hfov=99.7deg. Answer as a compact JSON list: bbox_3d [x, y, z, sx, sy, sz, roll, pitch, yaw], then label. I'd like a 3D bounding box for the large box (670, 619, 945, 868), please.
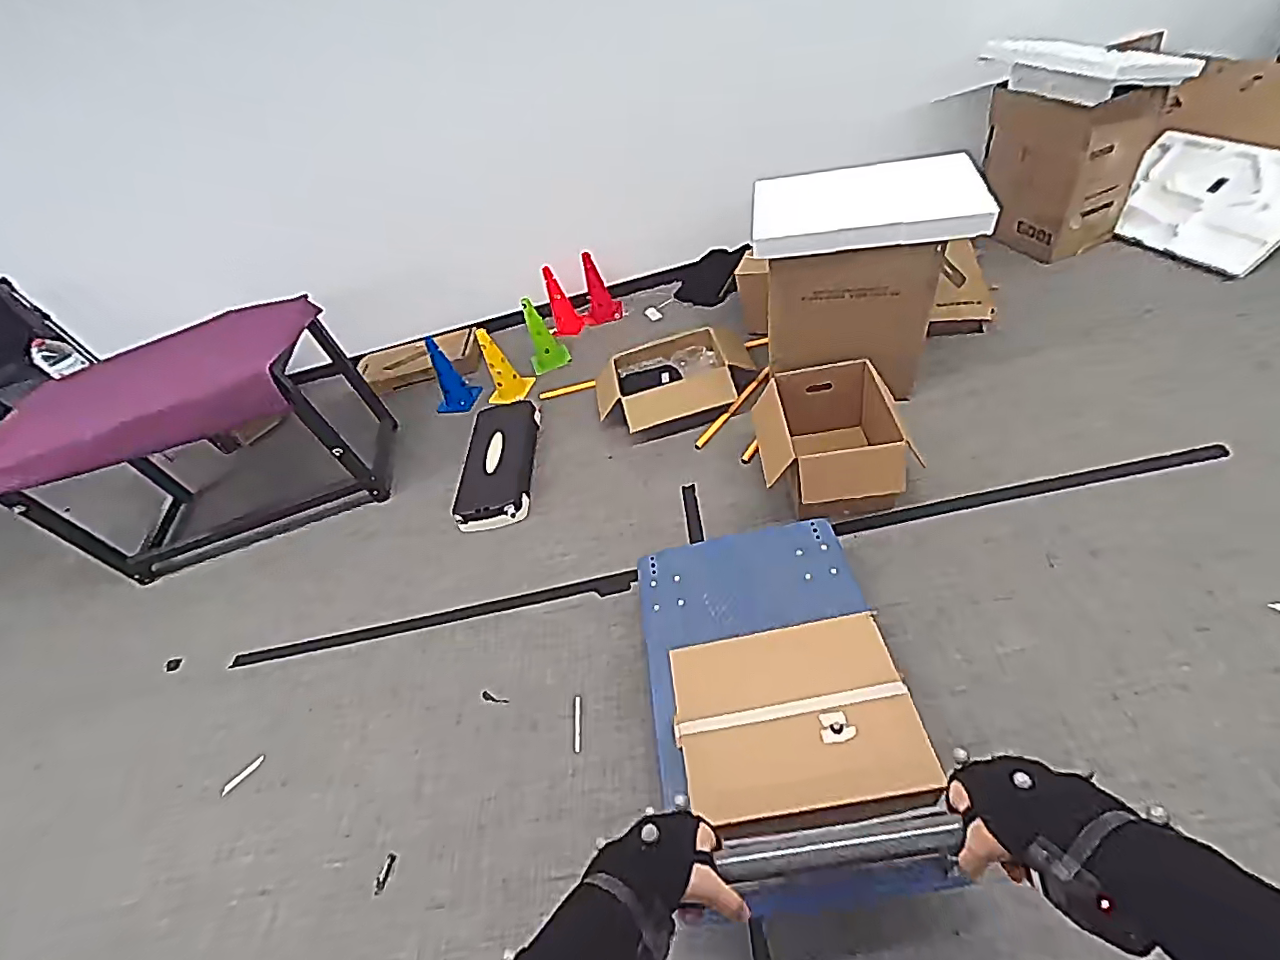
[{"bbox_3d":[0.297,0.520,1.057,0.408,0.320,0.320,-13,46,5],"label":"large box"}]
